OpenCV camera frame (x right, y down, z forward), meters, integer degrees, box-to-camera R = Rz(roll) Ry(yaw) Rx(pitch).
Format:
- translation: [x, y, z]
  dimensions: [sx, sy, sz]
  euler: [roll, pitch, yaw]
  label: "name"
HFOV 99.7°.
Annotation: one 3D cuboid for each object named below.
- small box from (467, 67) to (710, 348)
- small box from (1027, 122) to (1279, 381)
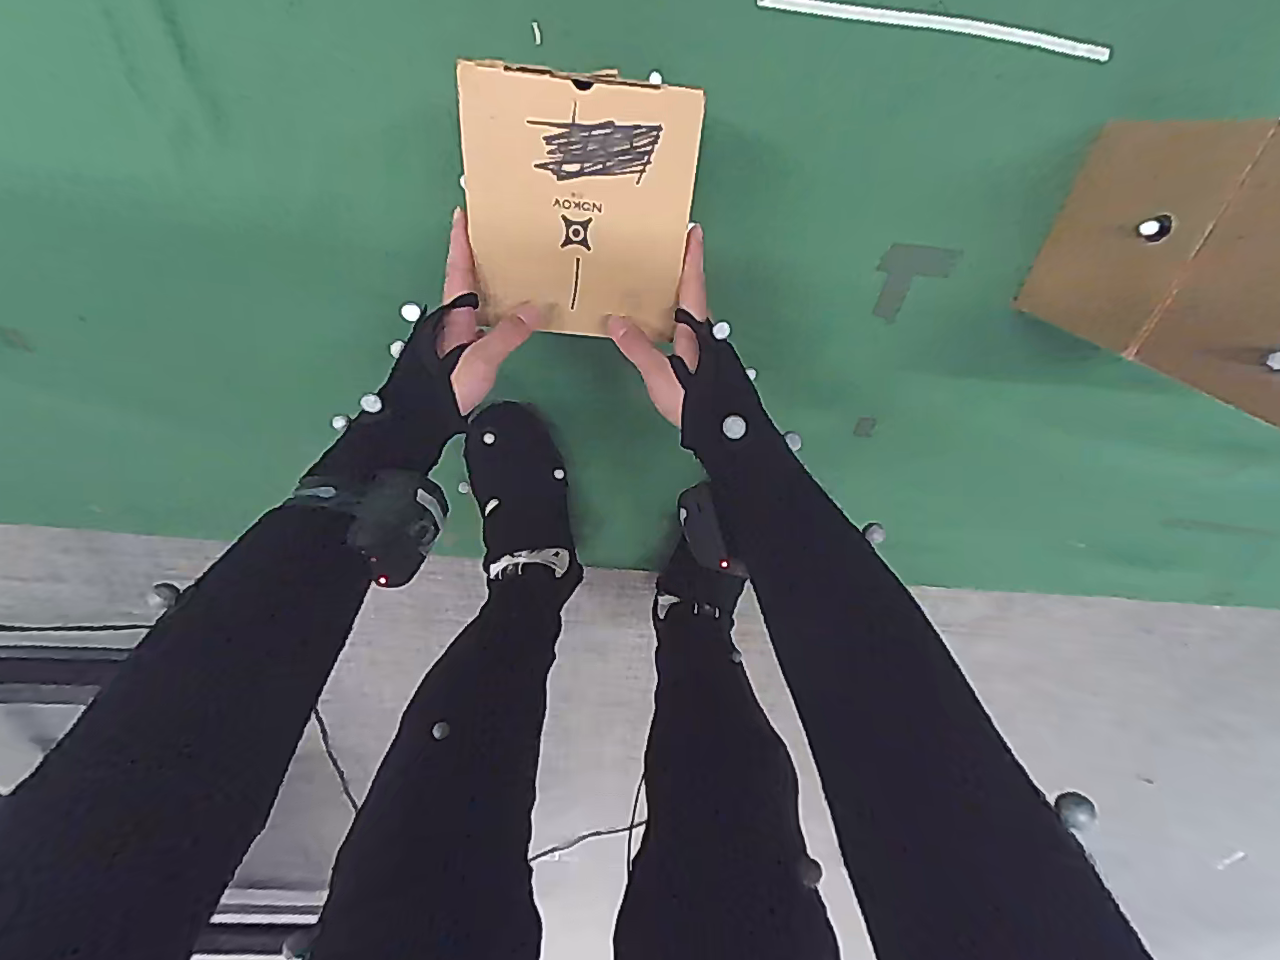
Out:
- translation: [-0.043, -0.234, 0.468]
  dimensions: [0.168, 0.176, 0.179]
  euler: [5, 124, -3]
  label: "small box"
- translation: [0.505, -0.209, 0.487]
  dimensions: [0.168, 0.176, 0.179]
  euler: [6, 123, -5]
  label: "small box"
